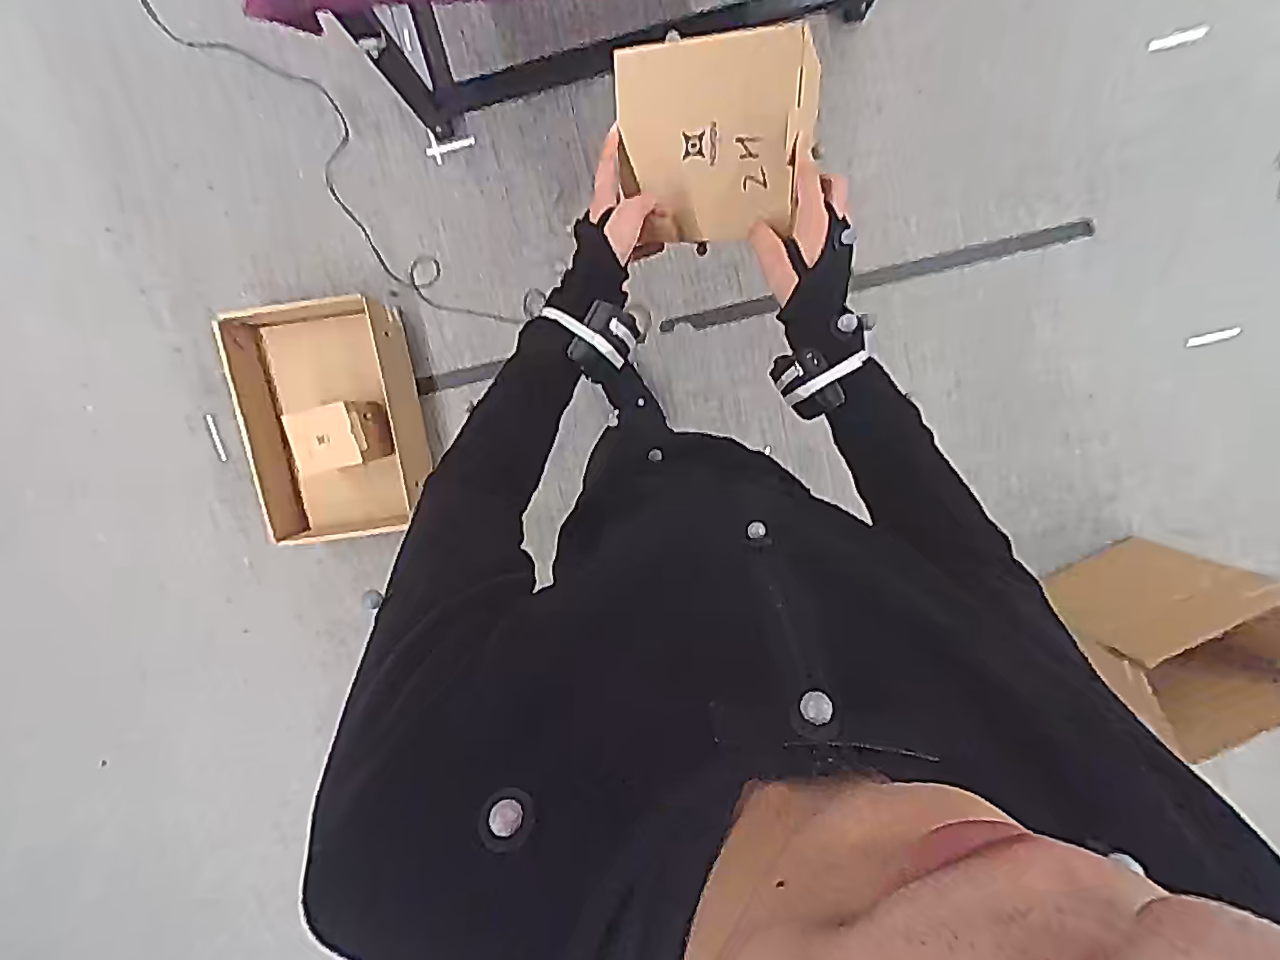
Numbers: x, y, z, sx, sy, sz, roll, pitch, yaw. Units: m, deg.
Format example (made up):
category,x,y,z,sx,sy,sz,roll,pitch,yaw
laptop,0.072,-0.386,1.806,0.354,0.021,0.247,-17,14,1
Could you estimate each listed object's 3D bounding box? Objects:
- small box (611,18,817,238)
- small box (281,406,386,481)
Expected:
category,x,y,z,sx,sy,sz,roll,pitch,yaw
small box,0.084,-0.348,0.573,0.179,0.176,0.168,7,116,19
small box,-0.817,-0.106,1.469,0.179,0.176,0.168,-13,98,2
